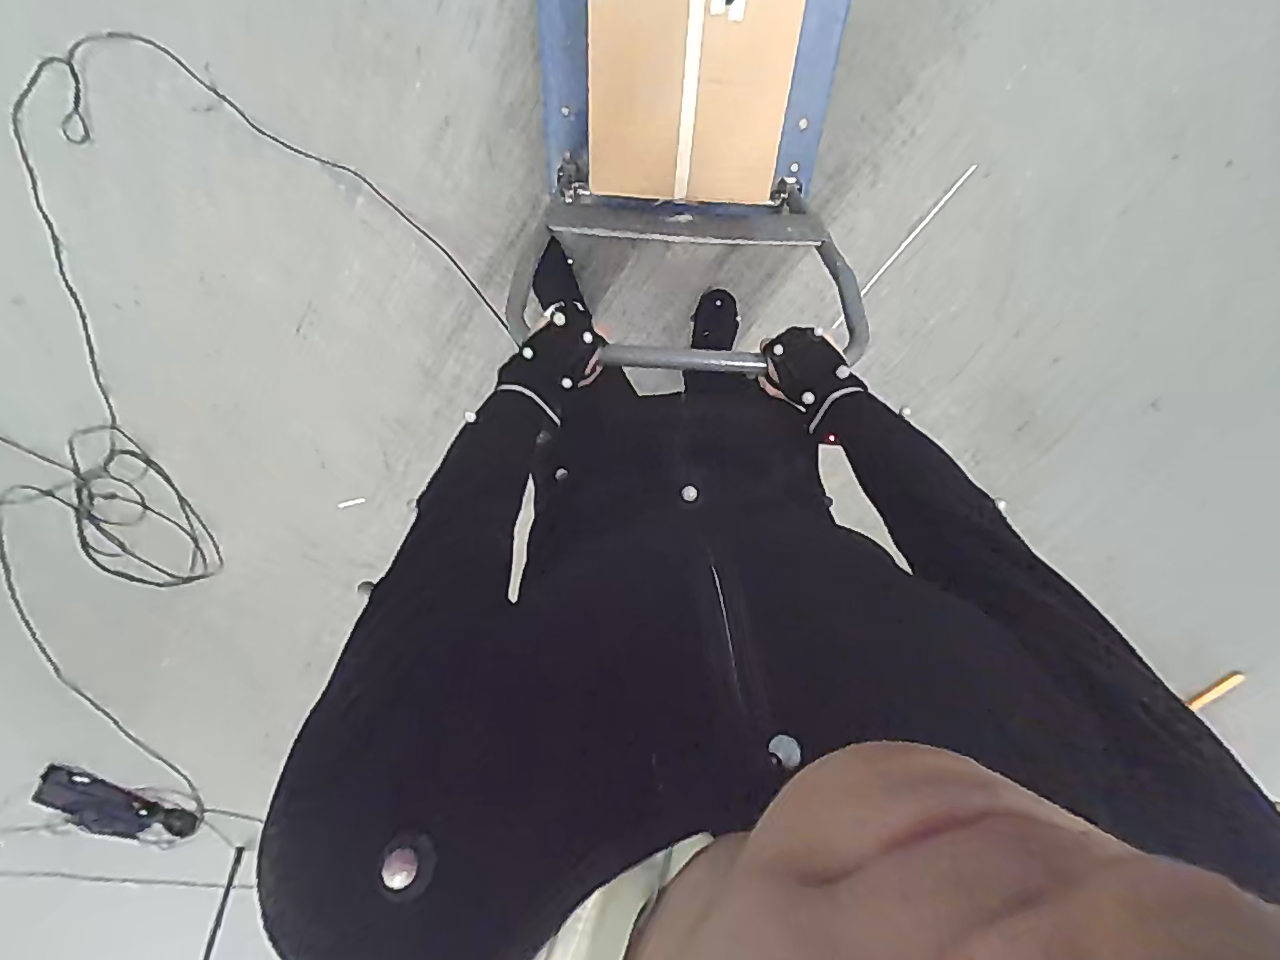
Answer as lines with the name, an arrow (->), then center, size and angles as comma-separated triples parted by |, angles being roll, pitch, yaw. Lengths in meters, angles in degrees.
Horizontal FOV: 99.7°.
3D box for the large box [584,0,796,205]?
large box -> 0.079, -0.737, 0.949 | 0.320, 0.320, 0.408 | 3, 129, 0
